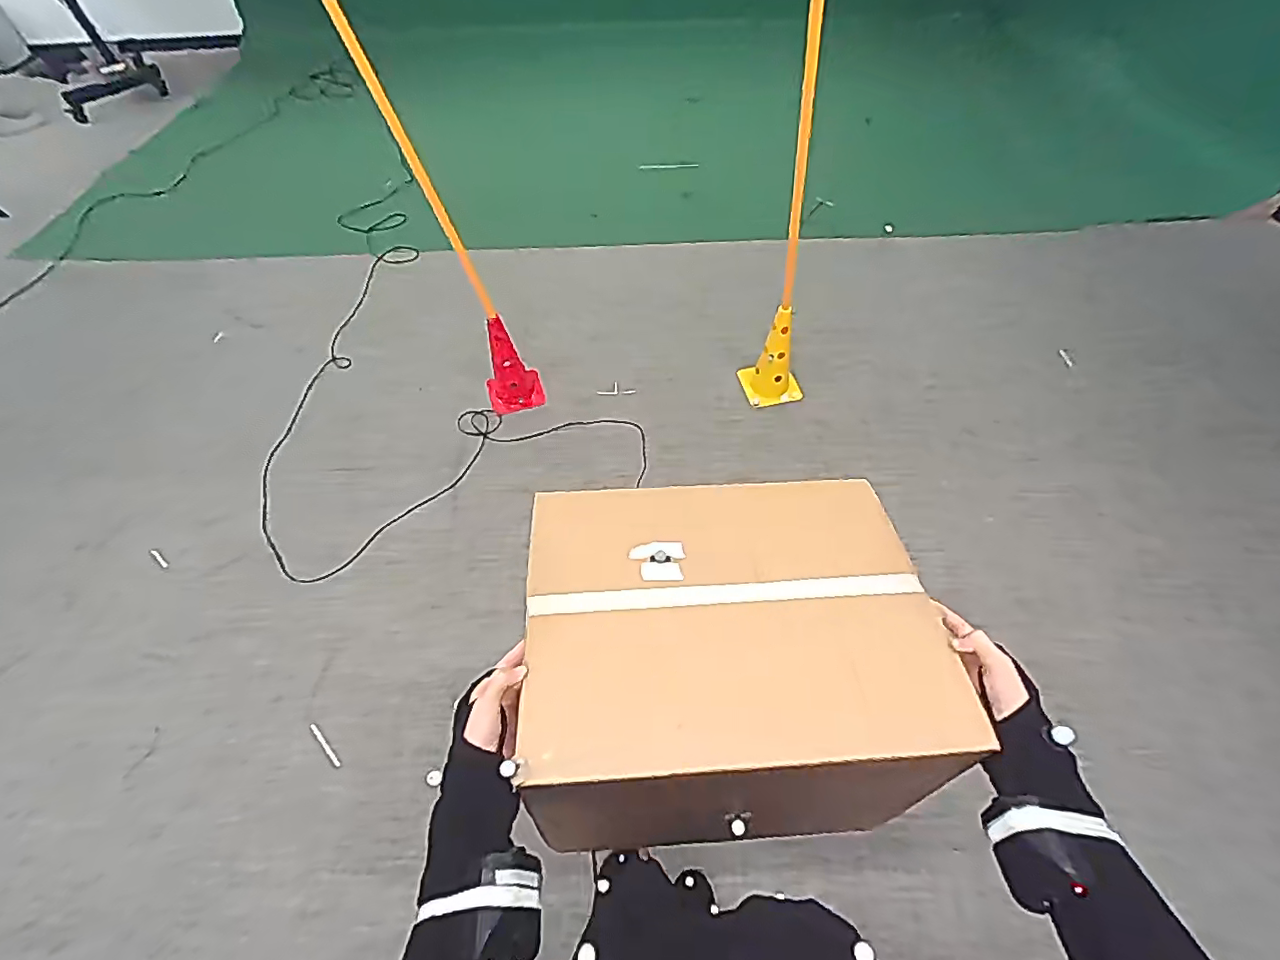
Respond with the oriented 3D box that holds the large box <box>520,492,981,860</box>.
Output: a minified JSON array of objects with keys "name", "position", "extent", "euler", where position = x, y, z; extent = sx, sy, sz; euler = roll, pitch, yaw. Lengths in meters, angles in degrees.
[{"name":"large box","position":[0.088,0.241,0.661],"extent":[0.408,0.320,0.320],"euler":[-3,46,-3]}]
